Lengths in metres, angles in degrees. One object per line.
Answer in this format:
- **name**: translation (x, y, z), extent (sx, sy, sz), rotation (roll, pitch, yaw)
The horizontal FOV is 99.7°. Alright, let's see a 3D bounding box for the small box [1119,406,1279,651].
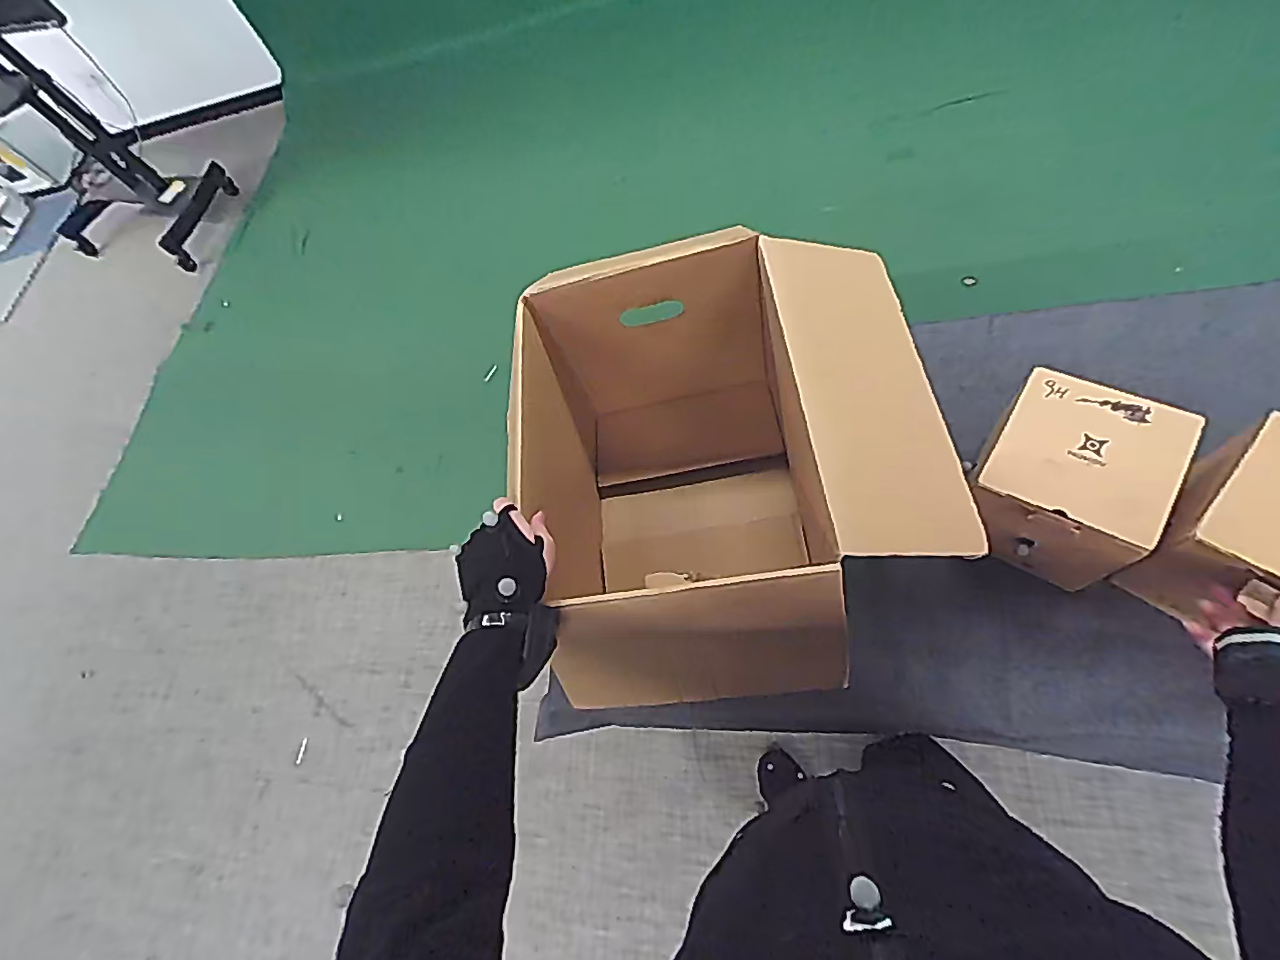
- **small box**: translation (0.676, 0.061, 0.583), extent (0.168, 0.176, 0.179), rotation (36, 79, 26)
